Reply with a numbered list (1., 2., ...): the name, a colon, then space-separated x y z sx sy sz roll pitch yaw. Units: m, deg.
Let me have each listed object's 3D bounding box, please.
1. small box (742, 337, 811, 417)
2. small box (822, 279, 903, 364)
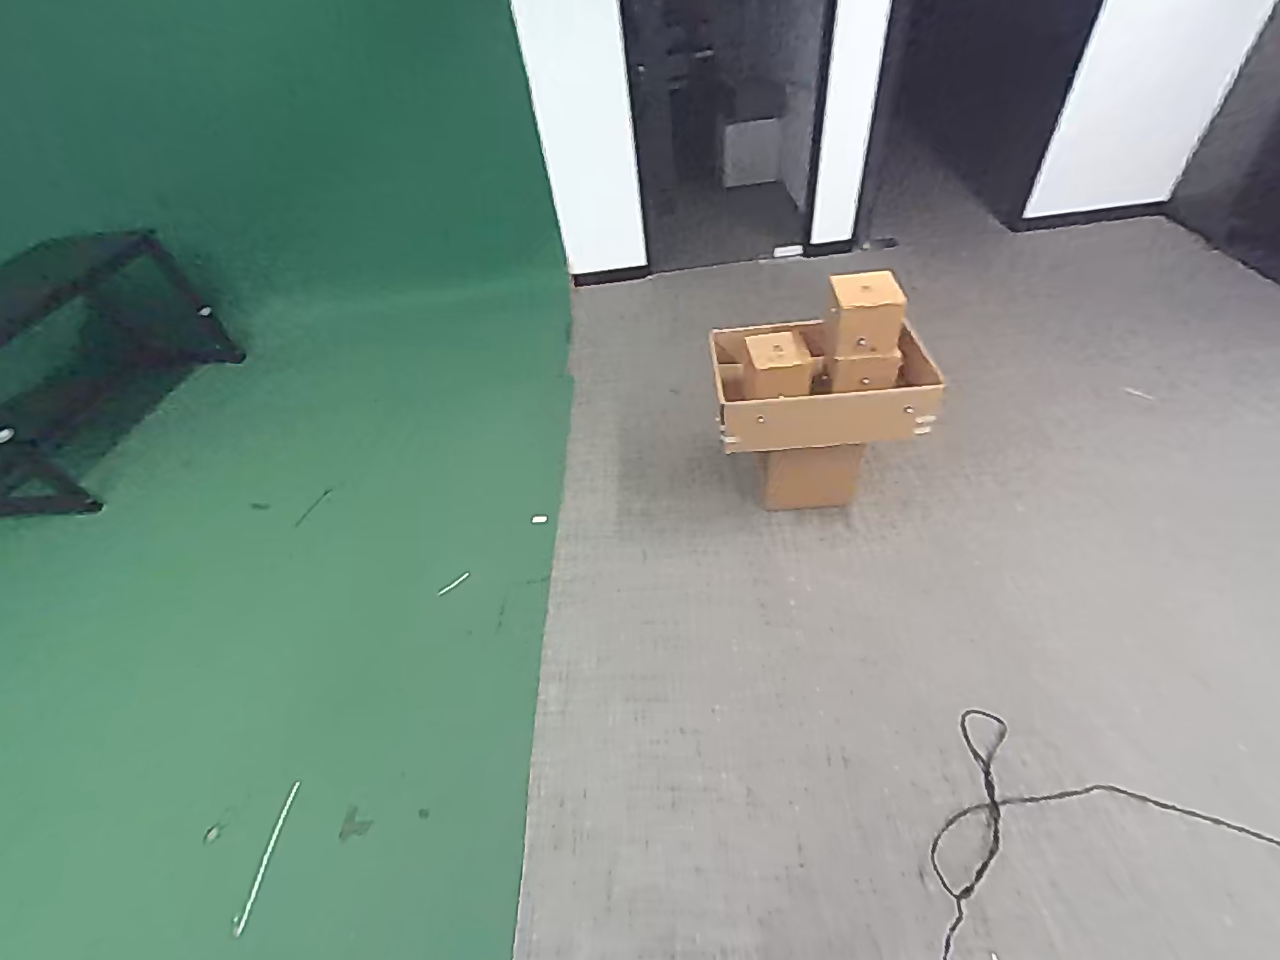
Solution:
1. small box: 0.414 -0.317 1.672 0.168 0.176 0.179 -7 46 1
2. small box: 0.627 -0.451 1.545 0.168 0.176 0.179 -3 45 7
